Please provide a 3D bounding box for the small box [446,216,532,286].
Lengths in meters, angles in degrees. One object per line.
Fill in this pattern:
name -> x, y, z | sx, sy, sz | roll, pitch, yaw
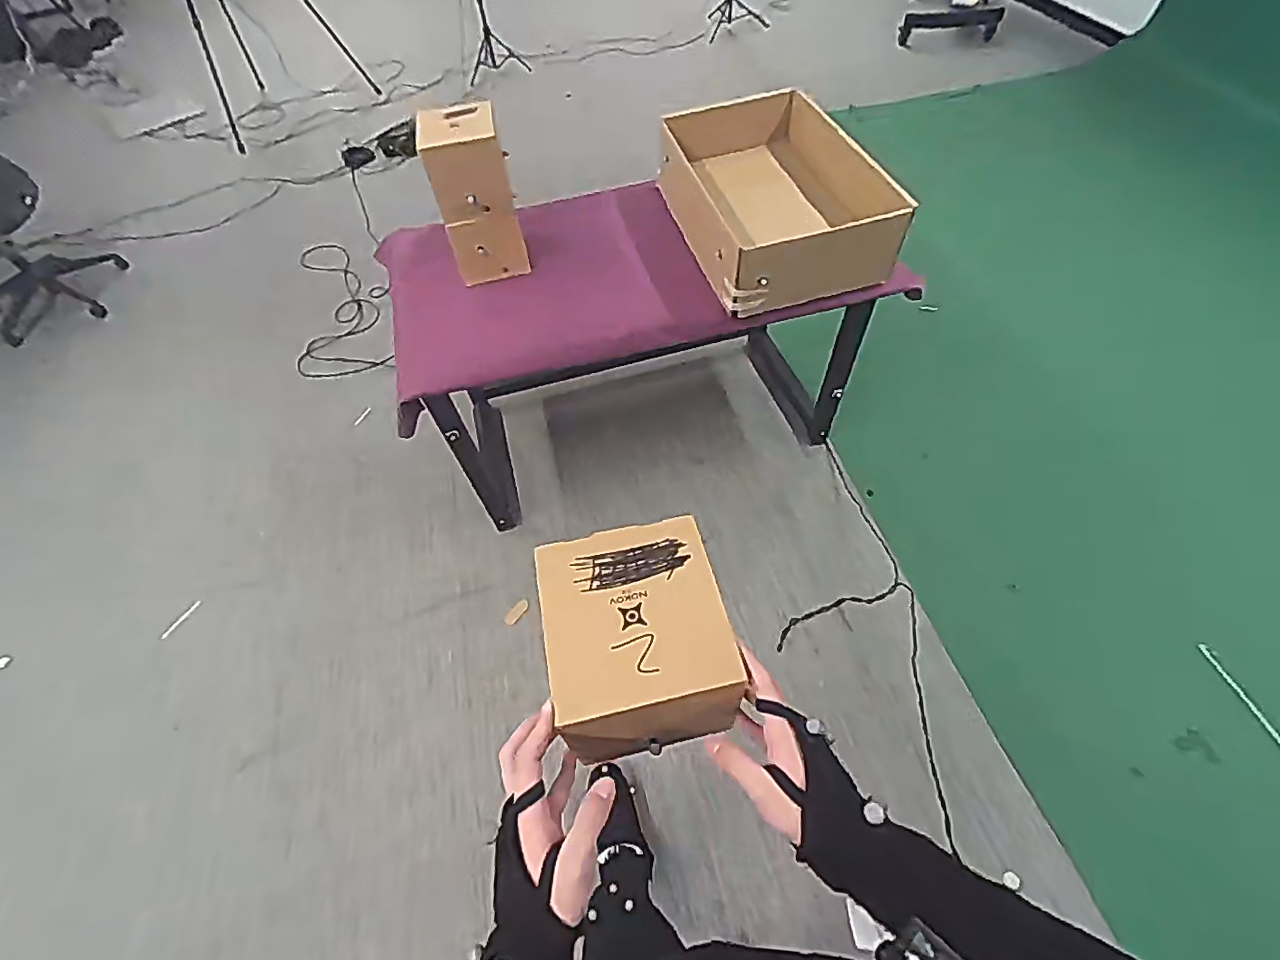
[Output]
small box -> -0.380, -0.610, 1.362 | 0.168, 0.176, 0.179 | -16, 56, -6

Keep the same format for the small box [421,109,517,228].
small box -> -0.383, -0.705, 1.228 | 0.168, 0.176, 0.179 | -12, 57, -4
